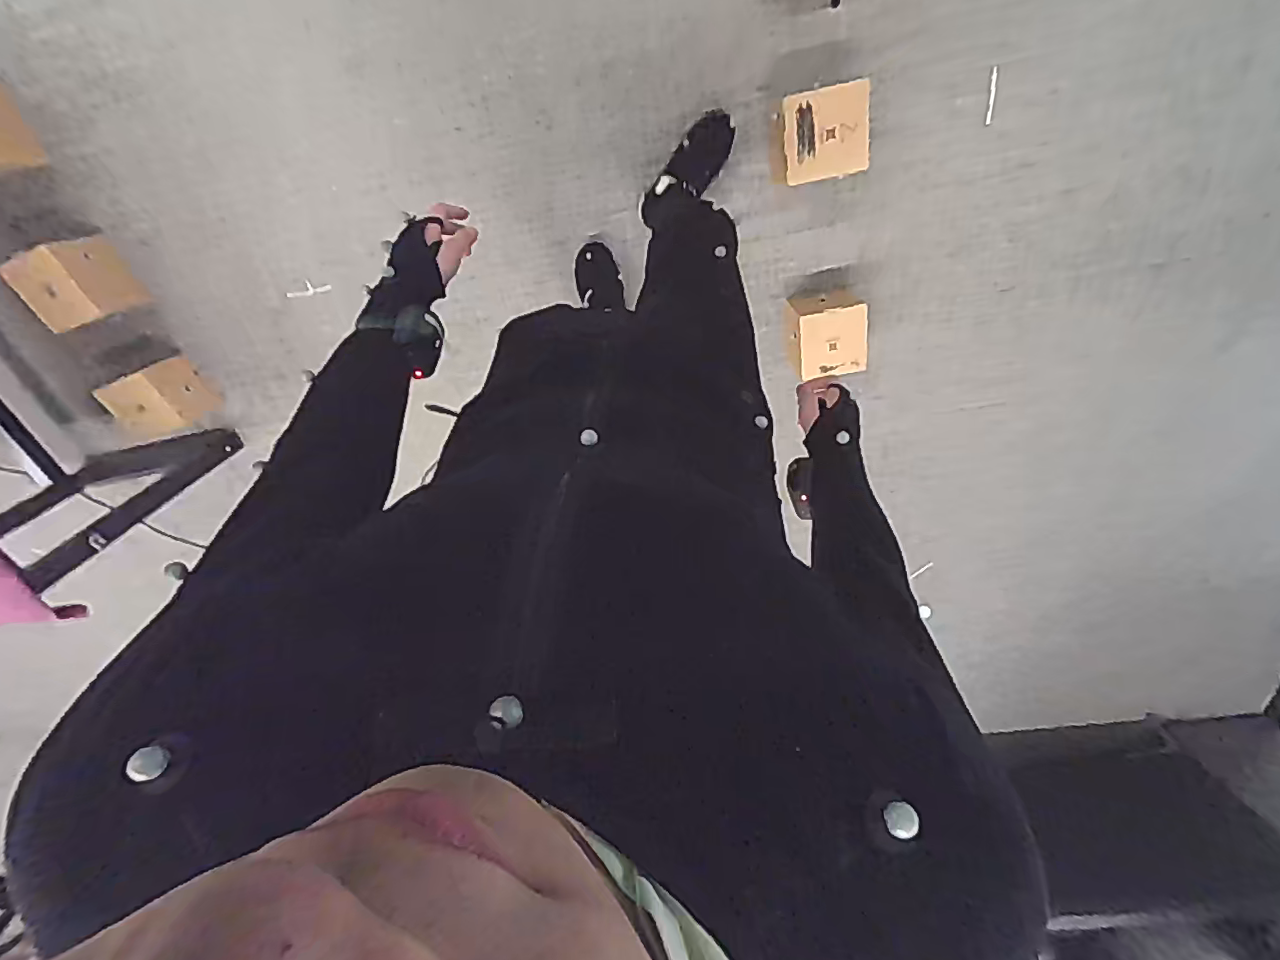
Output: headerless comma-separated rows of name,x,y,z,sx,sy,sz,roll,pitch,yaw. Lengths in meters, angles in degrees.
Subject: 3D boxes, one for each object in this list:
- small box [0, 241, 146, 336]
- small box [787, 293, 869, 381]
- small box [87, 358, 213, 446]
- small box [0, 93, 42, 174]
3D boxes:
small box,-1.434,-0.491,1.368,0.168,0.176,0.179,-15,120,11
small box,0.485,-0.380,1.412,0.168,0.176,0.179,-9,120,6
small box,-1.362,-0.225,1.526,0.179,0.176,0.168,-17,119,11
small box,-1.520,-0.778,1.197,0.168,0.176,0.179,-9,120,6
